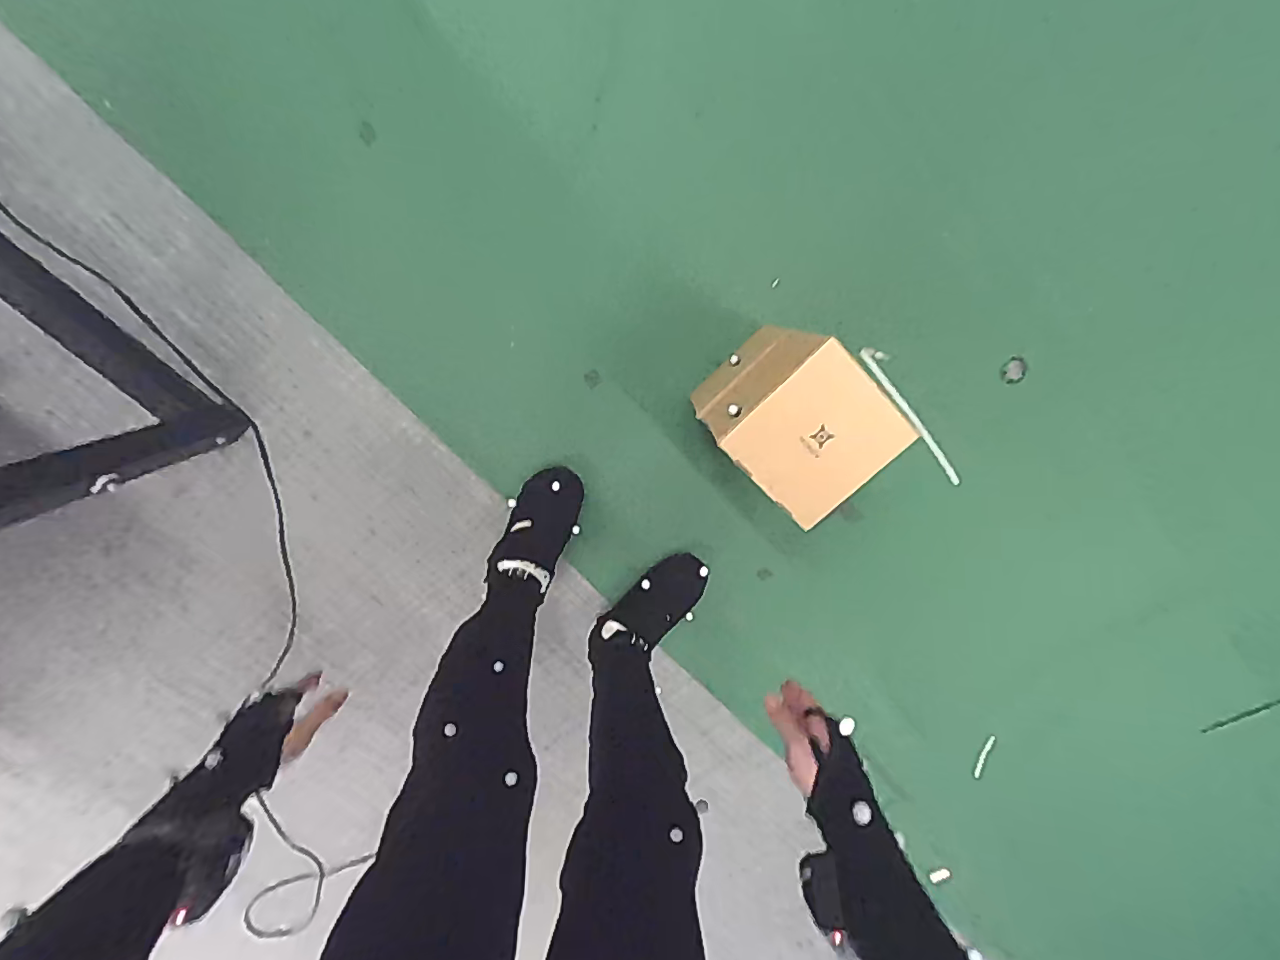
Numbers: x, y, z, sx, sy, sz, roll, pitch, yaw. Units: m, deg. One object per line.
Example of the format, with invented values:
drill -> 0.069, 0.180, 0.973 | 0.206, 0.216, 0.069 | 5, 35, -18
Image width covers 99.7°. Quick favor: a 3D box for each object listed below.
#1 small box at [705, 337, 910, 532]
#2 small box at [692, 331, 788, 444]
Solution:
small box -> 0.205, -0.071, 0.717 | 0.168, 0.176, 0.179 | 43, 104, -13
small box -> 0.197, -0.119, 0.872 | 0.179, 0.176, 0.168 | -43, 104, 12
